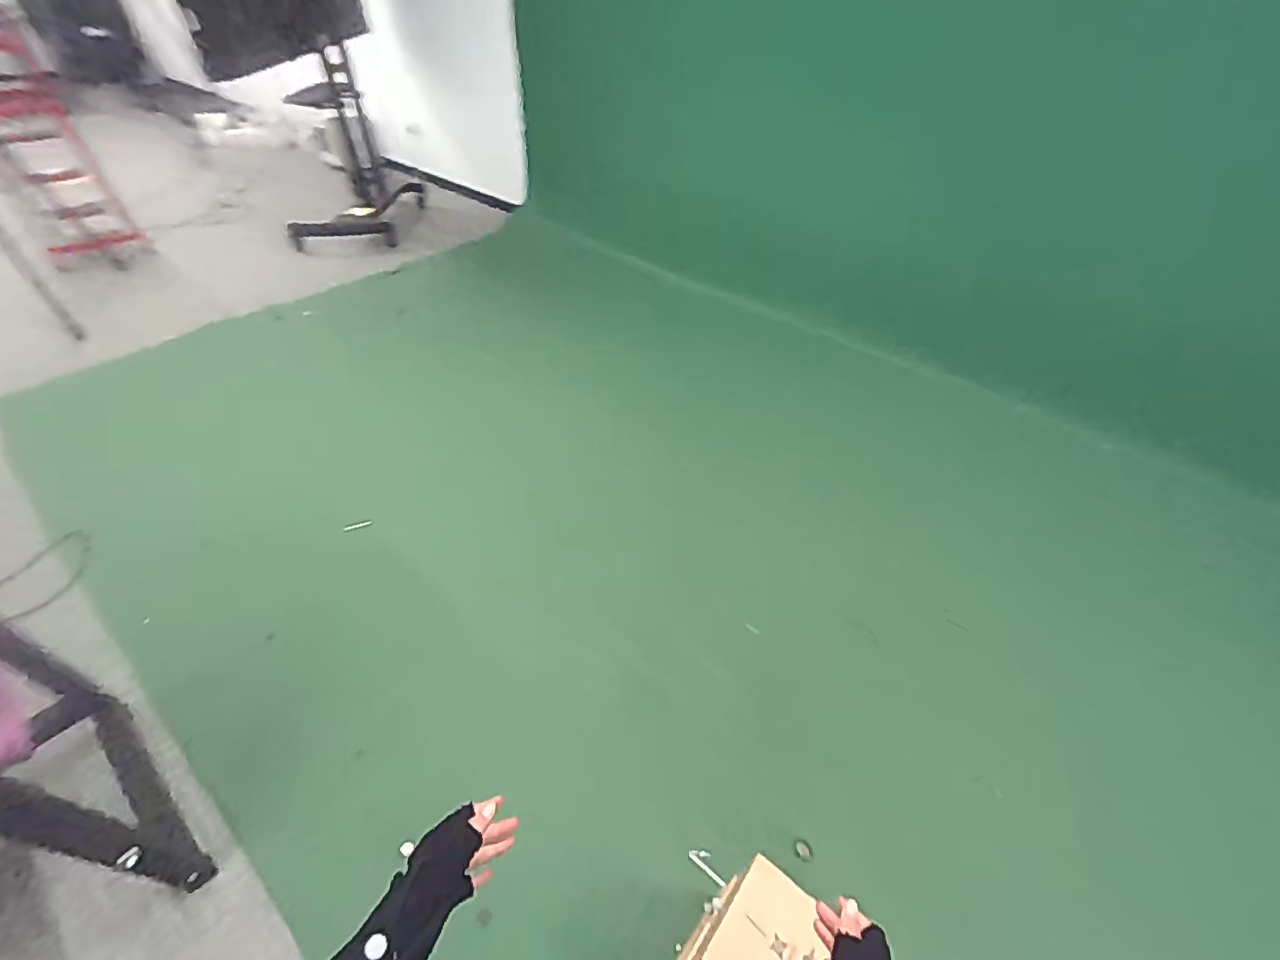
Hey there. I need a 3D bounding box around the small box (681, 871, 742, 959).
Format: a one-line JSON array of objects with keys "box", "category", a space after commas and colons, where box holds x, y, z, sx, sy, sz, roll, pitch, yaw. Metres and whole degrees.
[{"box": [0.184, 0.832, 0.932, 0.179, 0.176, 0.168, 33, 53, 25], "category": "small box"}]

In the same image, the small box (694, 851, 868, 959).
[{"box": [0.203, 0.712, 0.816, 0.179, 0.176, 0.168, 35, 52, 26], "category": "small box"}]
